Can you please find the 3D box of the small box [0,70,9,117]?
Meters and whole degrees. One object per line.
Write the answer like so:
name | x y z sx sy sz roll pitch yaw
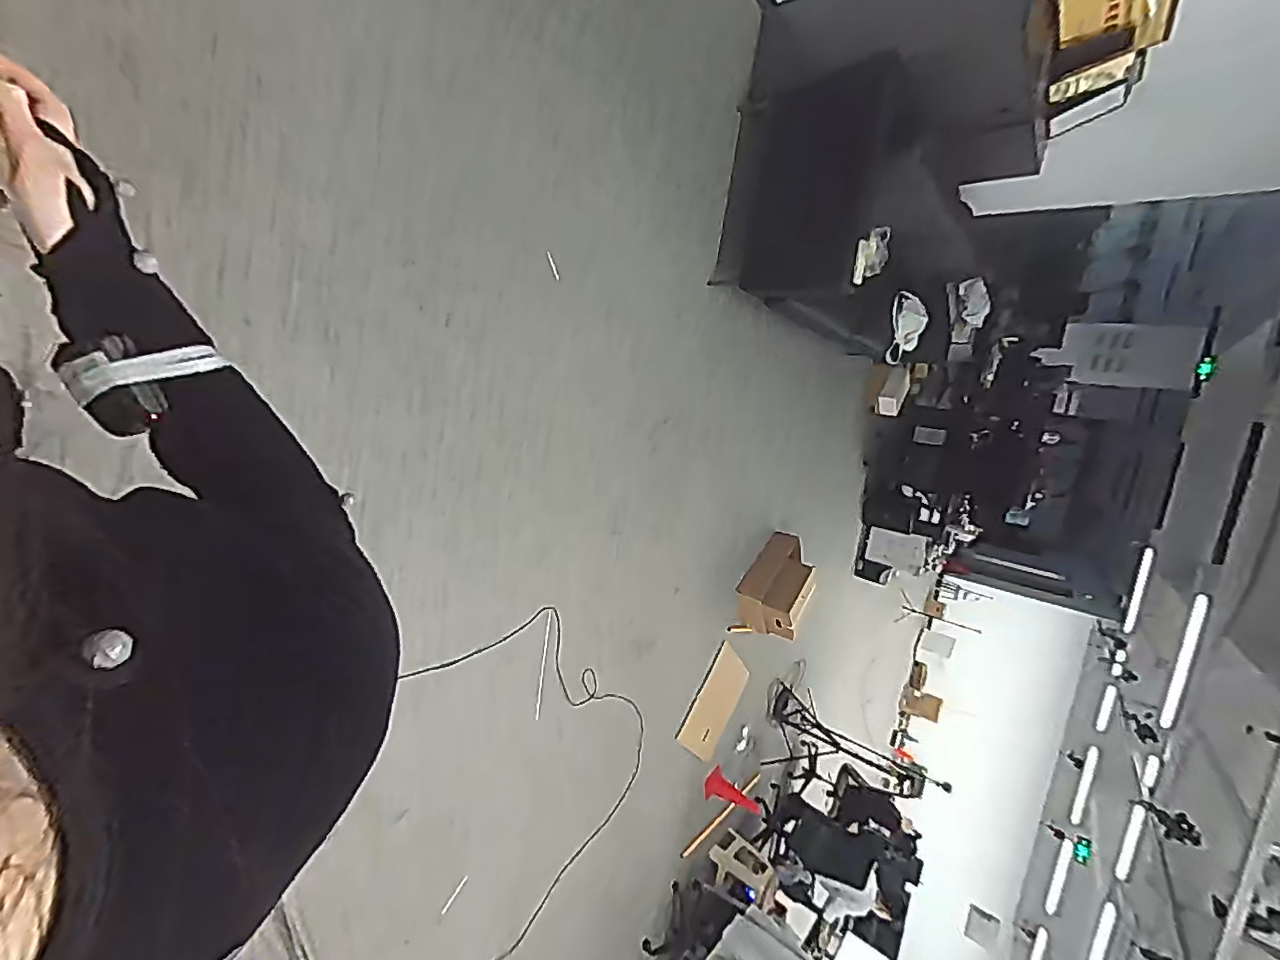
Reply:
small box | -0.499 -0.210 0.295 0.179 0.176 0.168 17 105 -54
